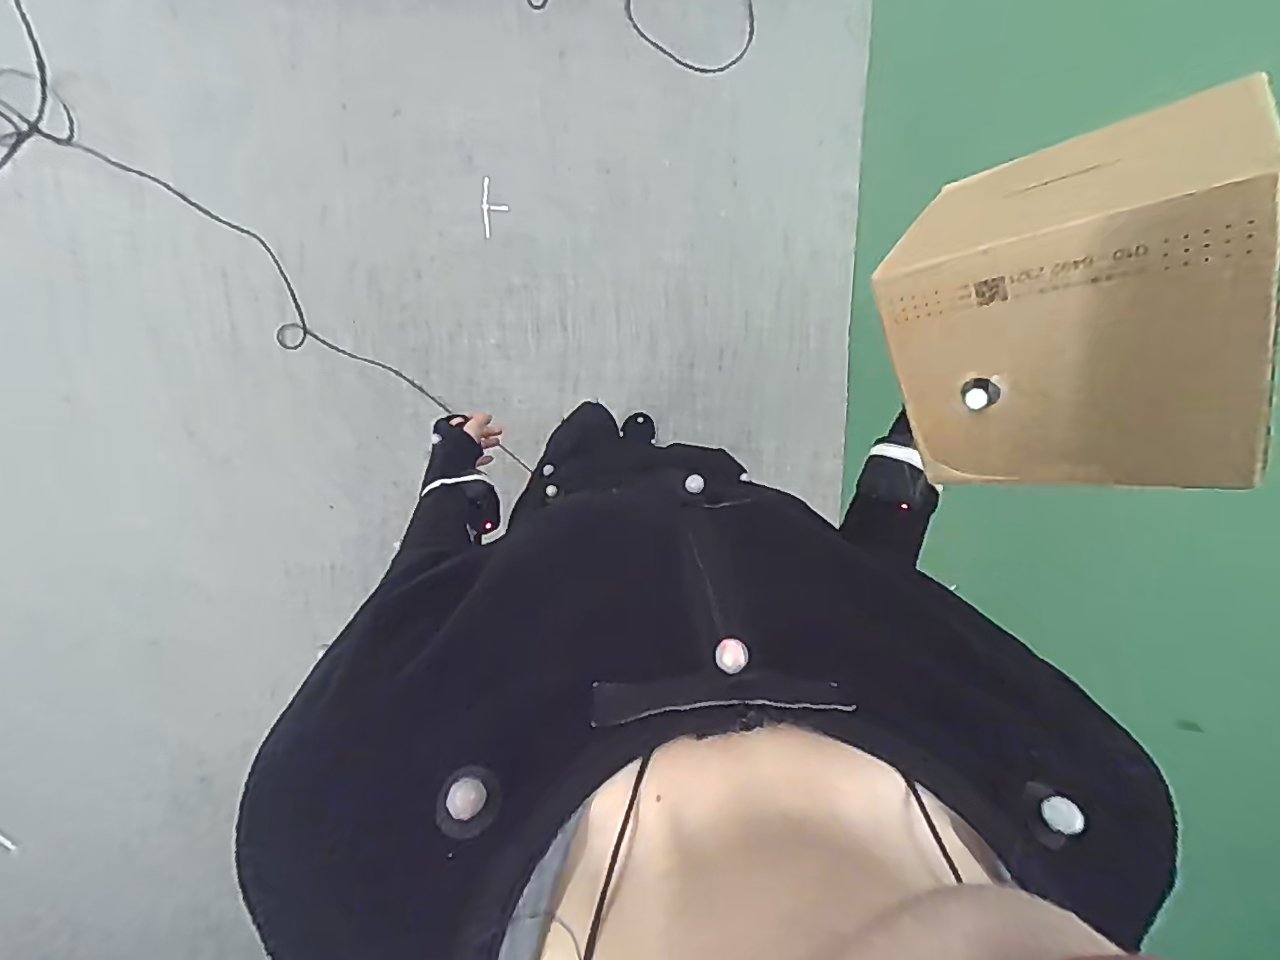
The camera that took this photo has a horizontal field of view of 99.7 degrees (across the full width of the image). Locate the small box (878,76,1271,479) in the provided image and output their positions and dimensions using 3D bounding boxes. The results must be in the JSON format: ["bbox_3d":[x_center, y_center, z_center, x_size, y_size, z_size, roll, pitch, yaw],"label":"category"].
[{"bbox_3d":[0.277,-0.119,0.353,0.179,0.168,0.176,-48,122,-33],"label":"small box"}]
